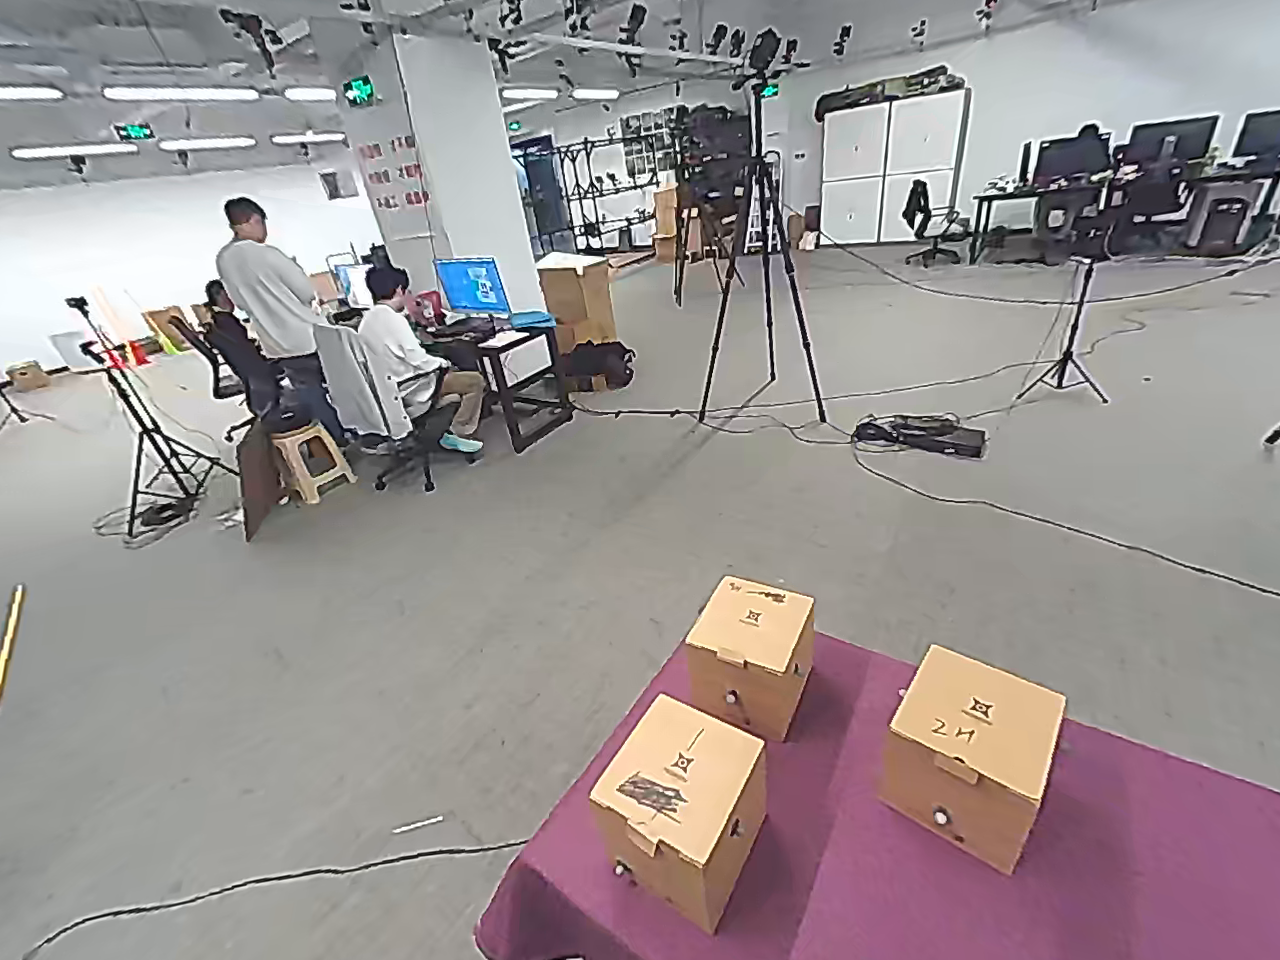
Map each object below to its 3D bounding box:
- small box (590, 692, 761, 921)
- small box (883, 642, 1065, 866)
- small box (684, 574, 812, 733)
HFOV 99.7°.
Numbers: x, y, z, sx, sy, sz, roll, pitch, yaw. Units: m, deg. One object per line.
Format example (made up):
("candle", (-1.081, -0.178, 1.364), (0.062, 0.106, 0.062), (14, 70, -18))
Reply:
("small box", (0.059, 0.437, 0.734), (0.168, 0.176, 0.179), (13, 35, 32))
("small box", (0.449, 0.367, 0.743), (0.168, 0.176, 0.179), (18, 40, 39))
("small box", (0.194, 0.298, 0.935), (0.168, 0.176, 0.179), (11, 37, 30))
